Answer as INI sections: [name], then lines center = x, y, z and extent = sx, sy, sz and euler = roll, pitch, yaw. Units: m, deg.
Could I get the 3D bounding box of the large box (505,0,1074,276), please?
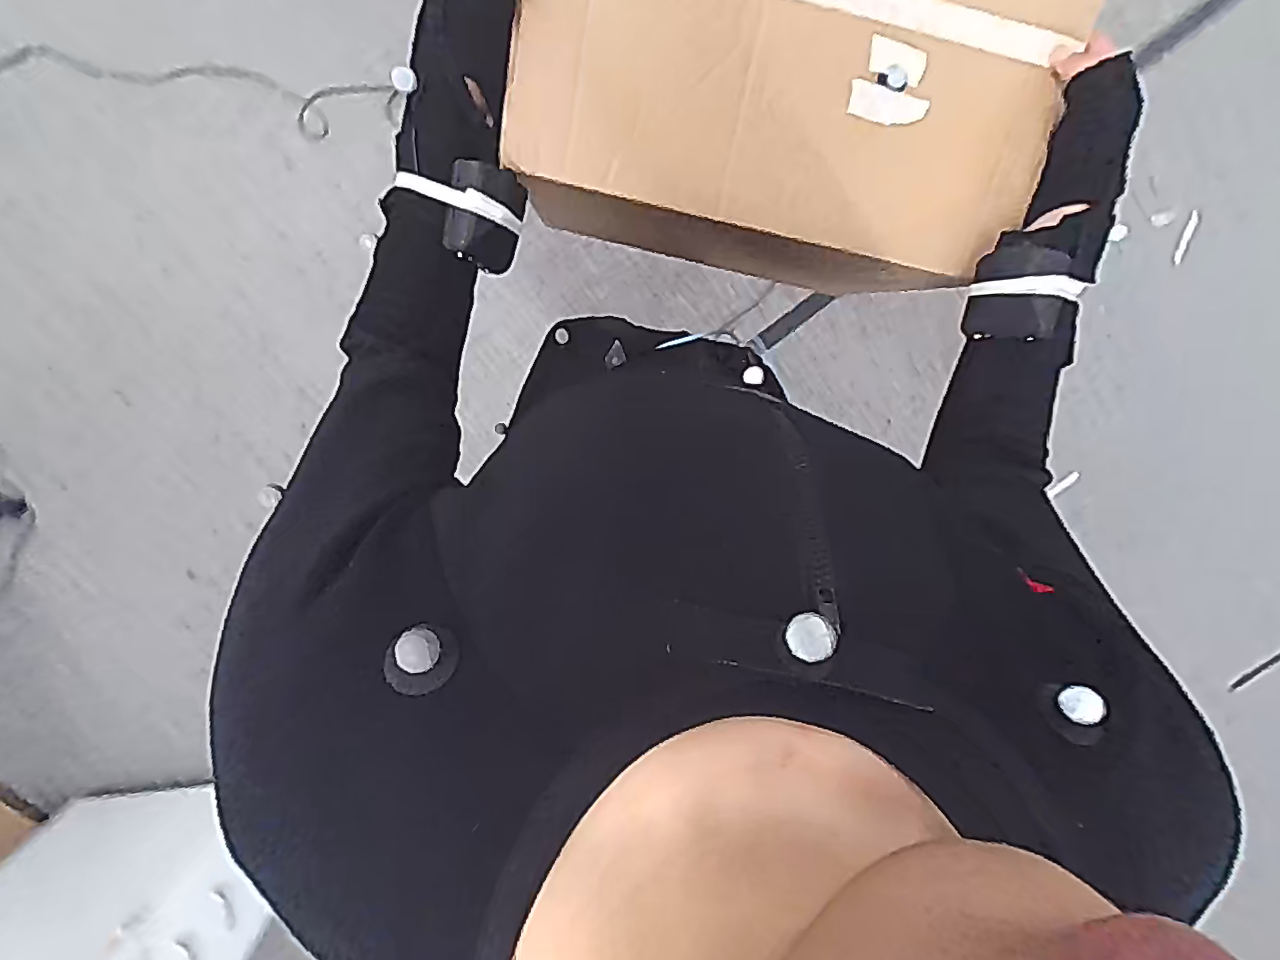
[large box]
center = 0.104, -0.398, 0.522
extent = 0.408, 0.320, 0.320
euler = 9, 108, -8
